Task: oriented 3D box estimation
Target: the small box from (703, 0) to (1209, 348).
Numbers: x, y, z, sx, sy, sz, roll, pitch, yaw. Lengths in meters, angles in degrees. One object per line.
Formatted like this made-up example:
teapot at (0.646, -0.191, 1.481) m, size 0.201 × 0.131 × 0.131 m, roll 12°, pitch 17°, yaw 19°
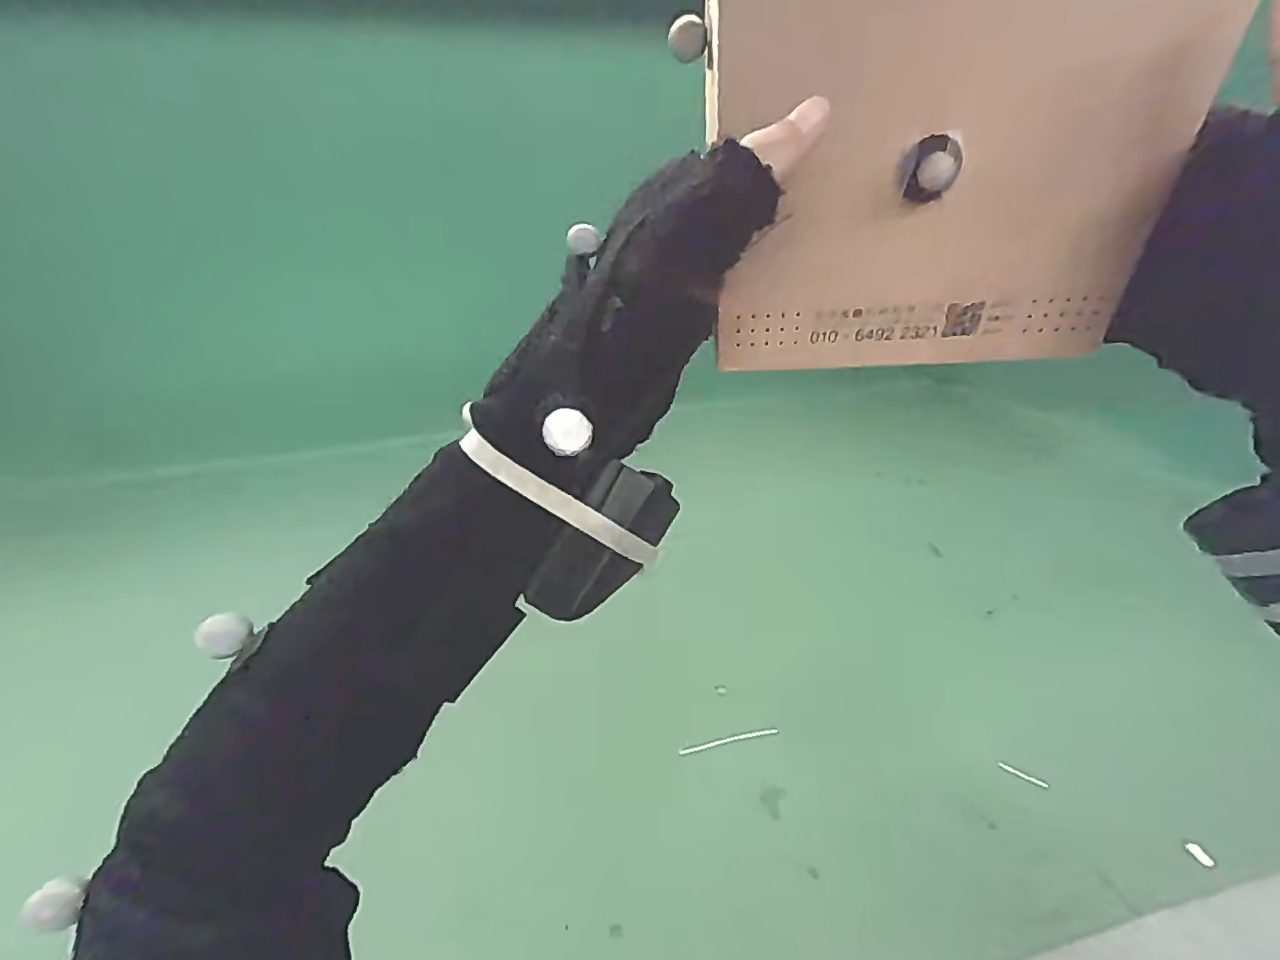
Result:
small box at (0.115, -0.171, 0.262) m, size 0.168 × 0.176 × 0.179 m, roll -1°, pitch 37°, yaw 6°
